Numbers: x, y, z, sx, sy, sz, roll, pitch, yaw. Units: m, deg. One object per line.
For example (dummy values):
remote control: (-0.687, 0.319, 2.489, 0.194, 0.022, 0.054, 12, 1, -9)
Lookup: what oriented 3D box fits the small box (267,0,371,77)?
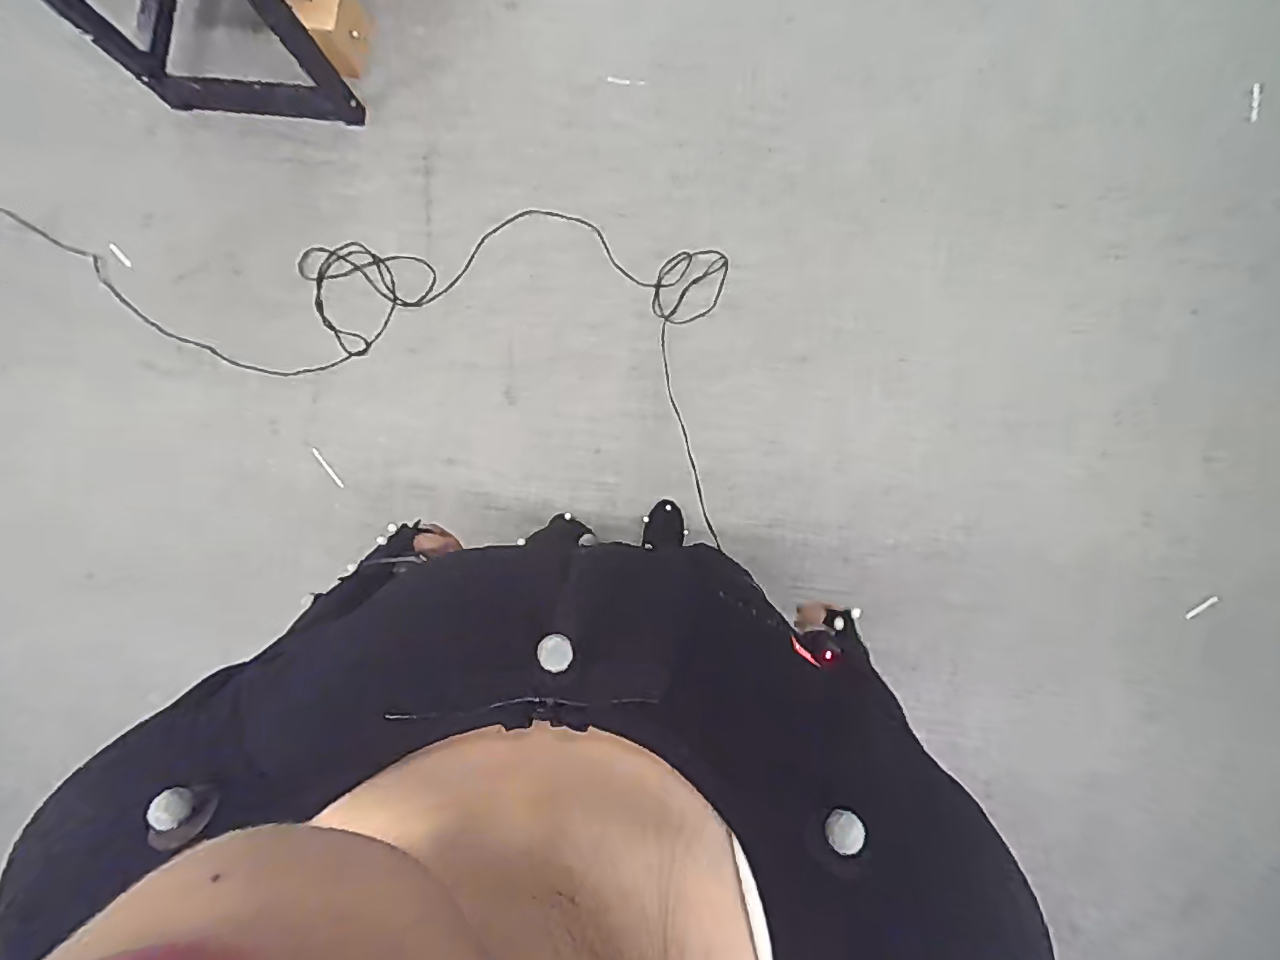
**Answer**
small box: (-0.877, -1.264, 1.495, 0.179, 0.176, 0.168, 11, 88, 2)
